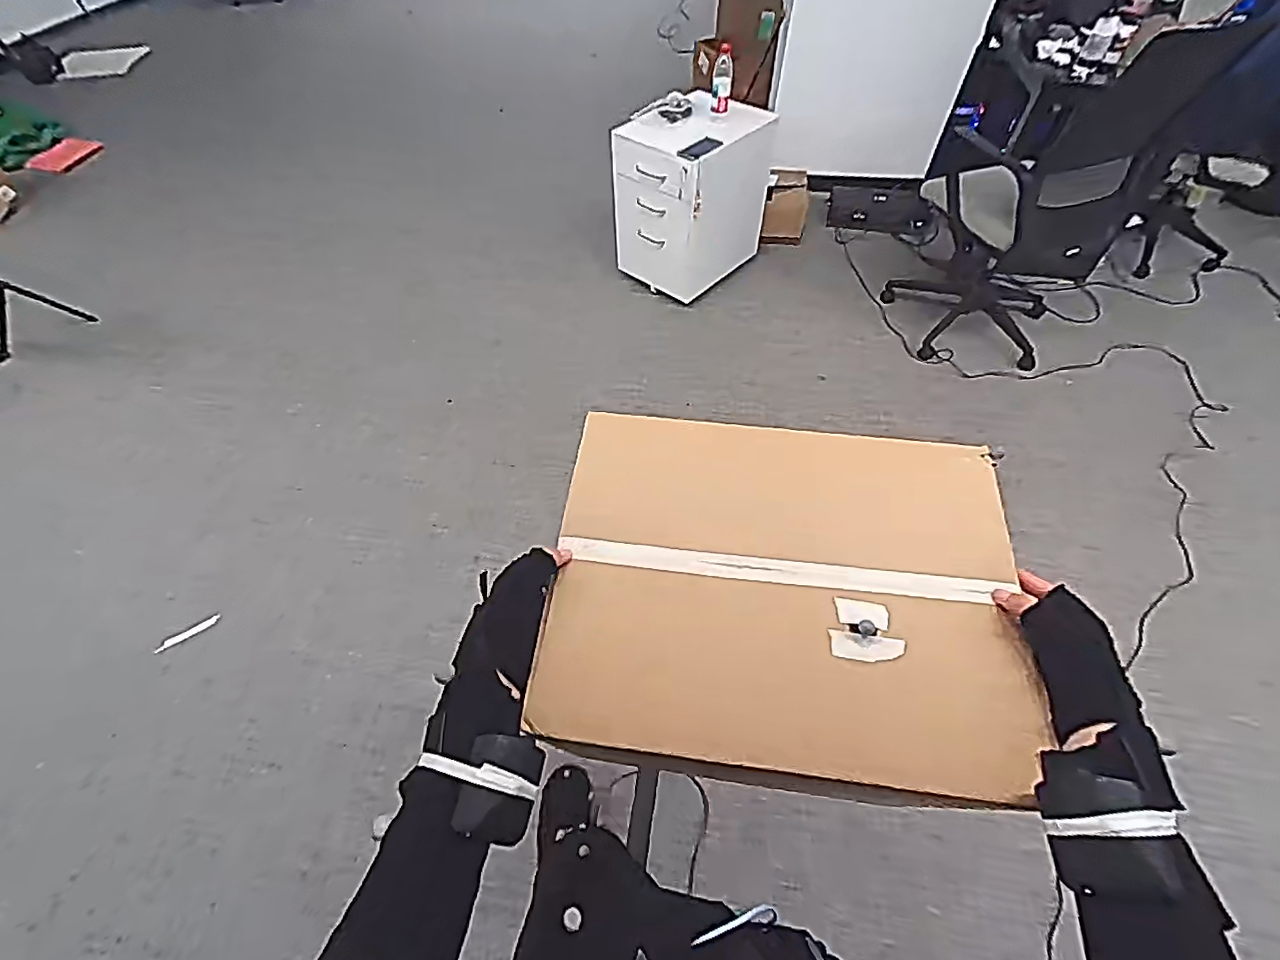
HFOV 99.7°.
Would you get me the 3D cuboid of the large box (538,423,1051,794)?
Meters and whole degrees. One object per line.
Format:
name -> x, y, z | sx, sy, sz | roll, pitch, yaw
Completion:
large box -> 0.130, 0.160, 0.619 | 0.408, 0.320, 0.320 | 6, 61, 4
